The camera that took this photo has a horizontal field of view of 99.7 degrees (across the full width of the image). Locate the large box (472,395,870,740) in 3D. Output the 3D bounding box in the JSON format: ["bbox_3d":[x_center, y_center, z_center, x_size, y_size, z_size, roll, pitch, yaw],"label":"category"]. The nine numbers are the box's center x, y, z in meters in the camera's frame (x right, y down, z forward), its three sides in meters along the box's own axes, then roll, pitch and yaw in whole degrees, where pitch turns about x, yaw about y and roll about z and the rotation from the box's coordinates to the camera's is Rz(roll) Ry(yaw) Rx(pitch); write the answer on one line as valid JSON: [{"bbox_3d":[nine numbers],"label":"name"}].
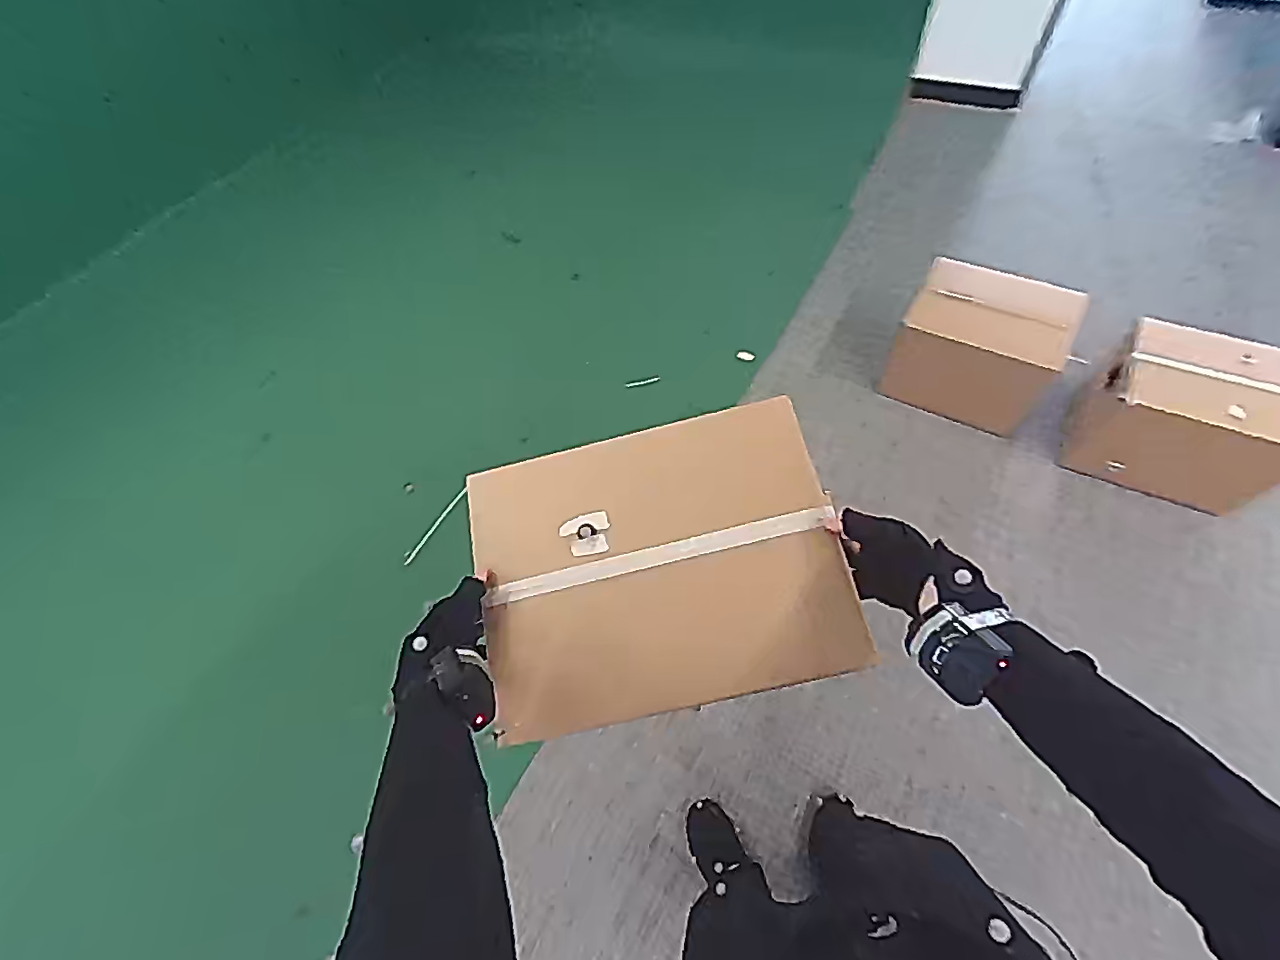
[{"bbox_3d":[0.038,0.130,0.748,0.408,0.320,0.320,-14,70,5],"label":"large box"}]
